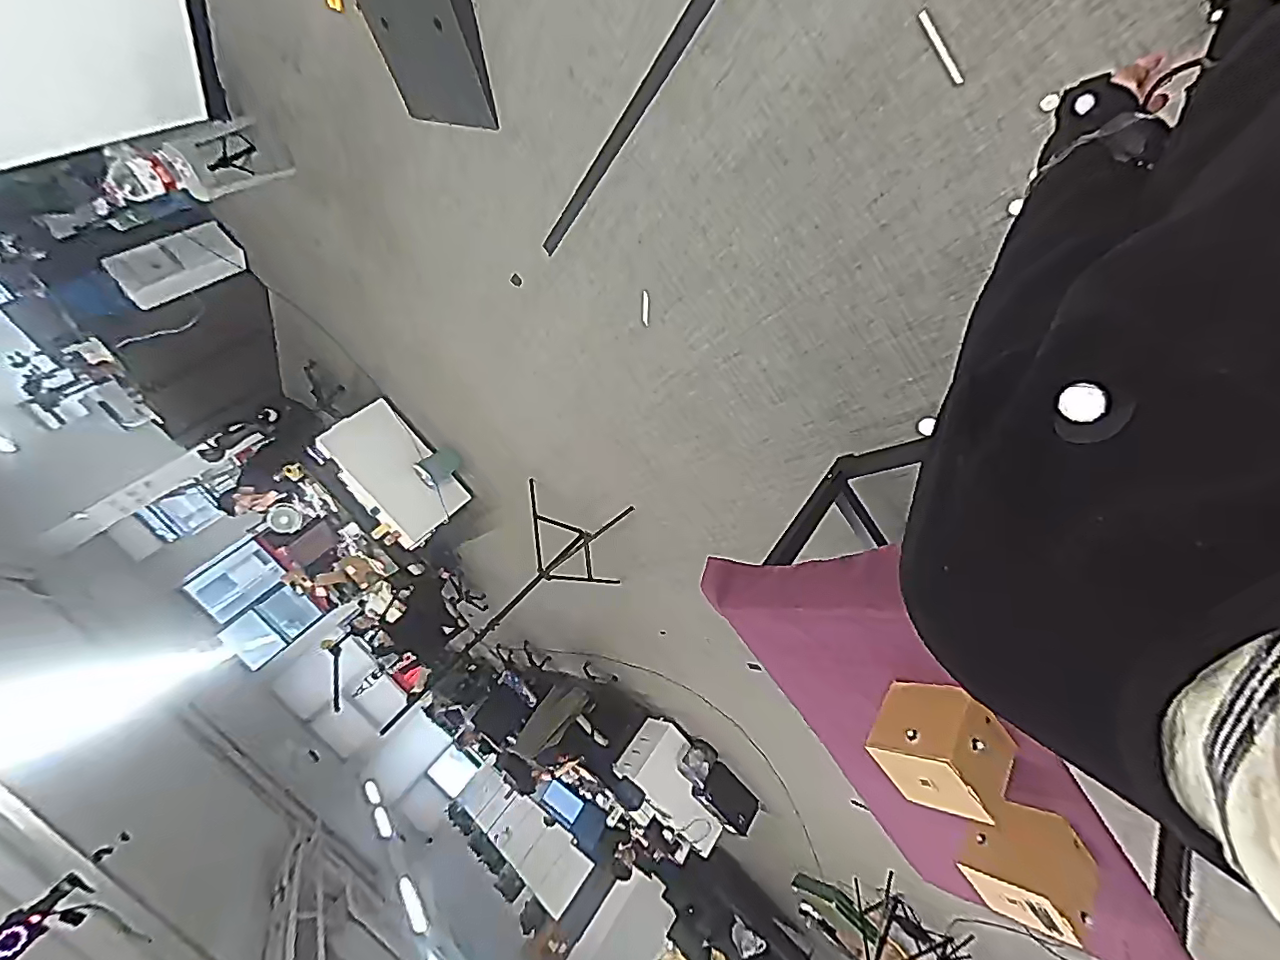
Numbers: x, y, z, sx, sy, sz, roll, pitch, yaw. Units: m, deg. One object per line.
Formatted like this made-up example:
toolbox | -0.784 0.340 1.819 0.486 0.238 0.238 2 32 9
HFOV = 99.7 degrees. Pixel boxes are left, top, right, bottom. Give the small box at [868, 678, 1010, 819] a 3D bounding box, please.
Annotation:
small box | 0.592 0.512 1.060 0.168 0.176 0.179 51 148 -10
